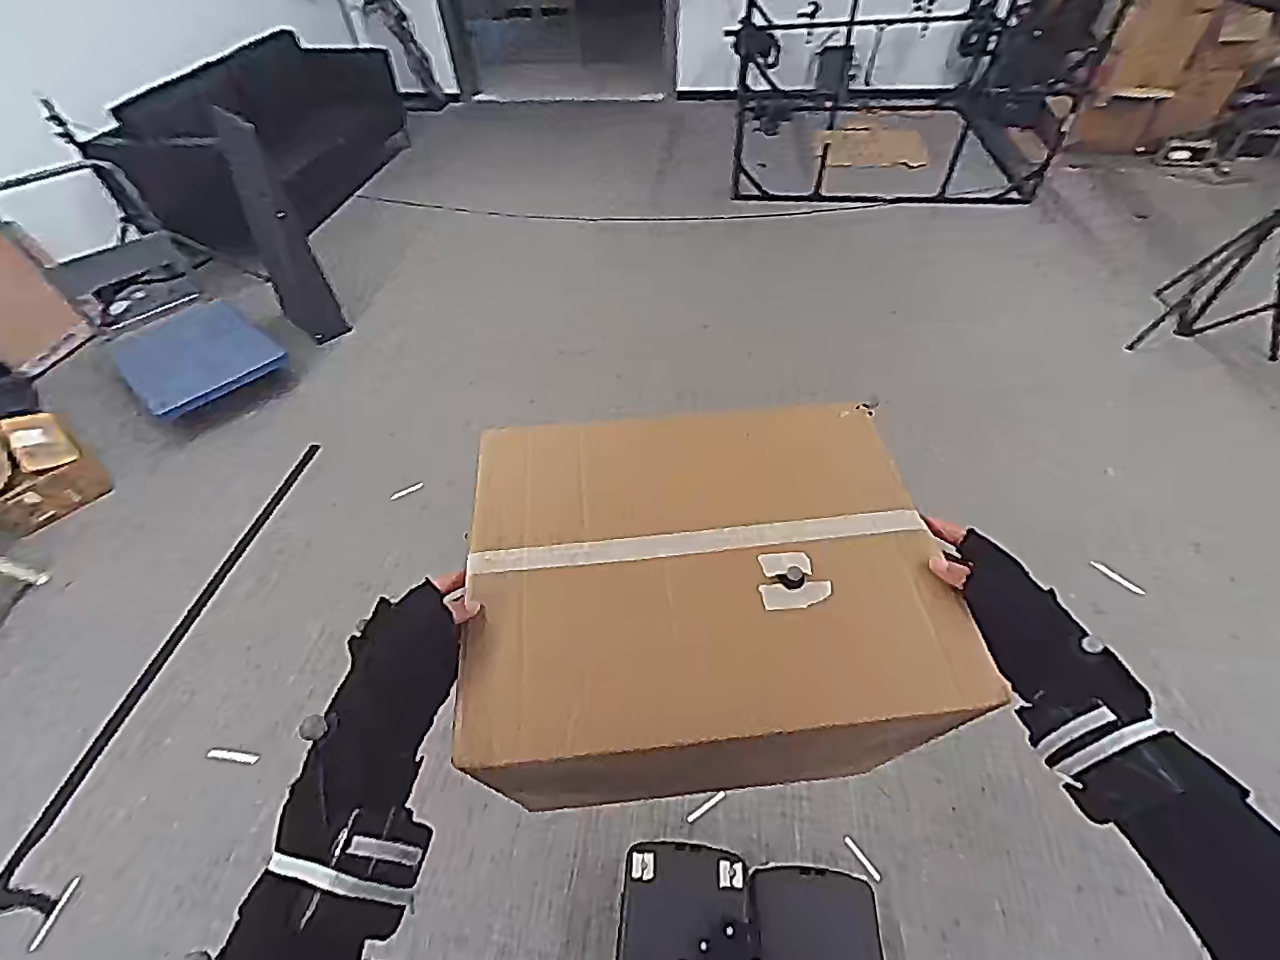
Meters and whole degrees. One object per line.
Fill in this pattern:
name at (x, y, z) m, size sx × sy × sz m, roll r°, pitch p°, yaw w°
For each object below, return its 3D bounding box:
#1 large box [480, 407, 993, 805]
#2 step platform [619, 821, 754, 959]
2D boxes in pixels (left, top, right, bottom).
large box at (0.060, 0.148, 0.609) m, size 0.408 × 0.320 × 0.320 m, roll -5°, pitch 54°, yaw -4°
step platform at (0.090, 1.108, 1.116) m, size 0.286 × 0.204 × 0.684 m, roll 2°, pitch 48°, yaw 5°
